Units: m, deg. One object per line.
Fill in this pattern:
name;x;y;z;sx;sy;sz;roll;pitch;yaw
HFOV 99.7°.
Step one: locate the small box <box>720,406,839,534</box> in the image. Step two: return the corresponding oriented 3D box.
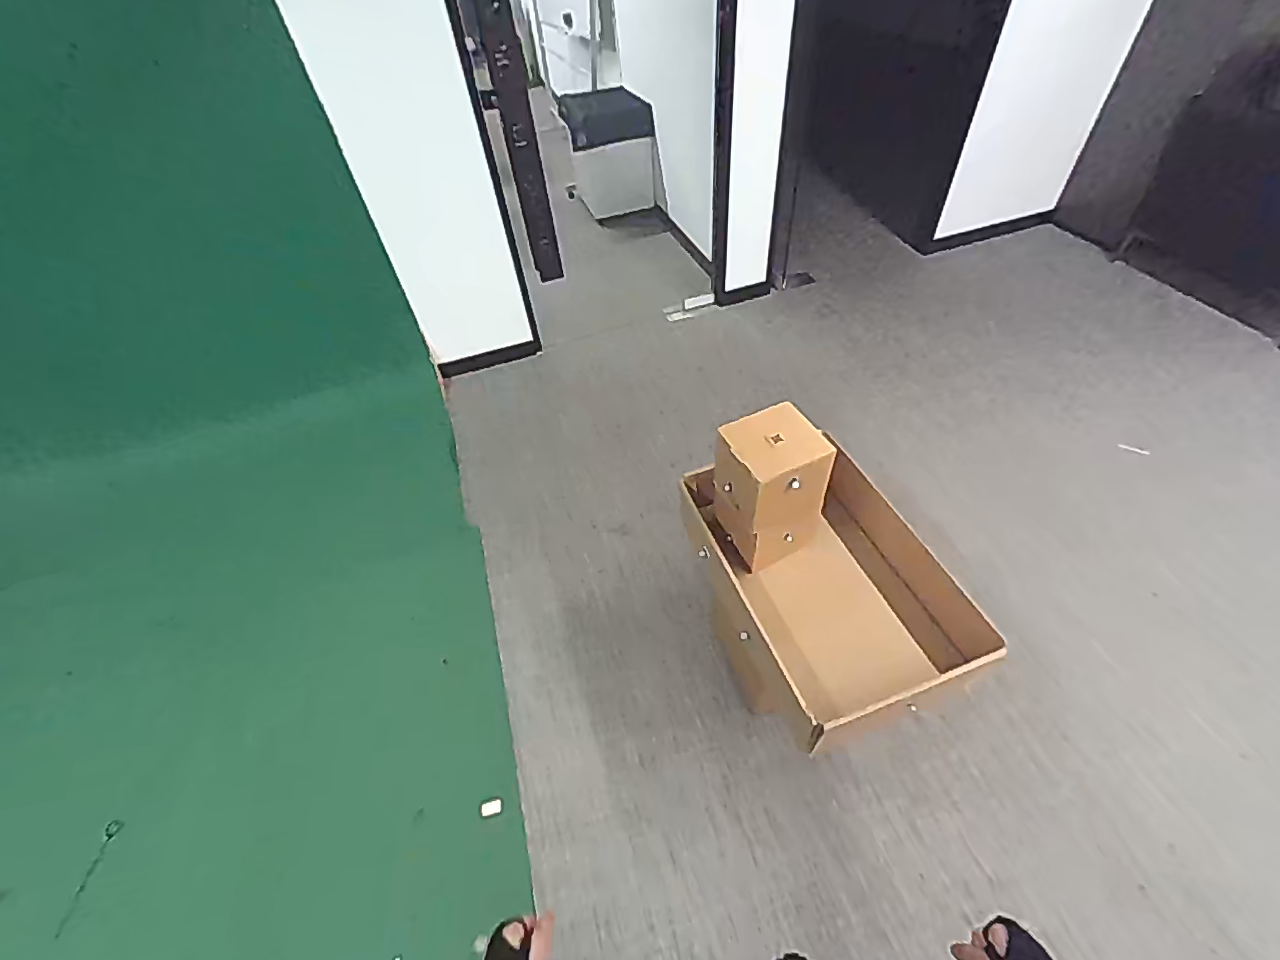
small box;0.279;-0.019;1.125;0.179;0.176;0.168;-22;50;-11
